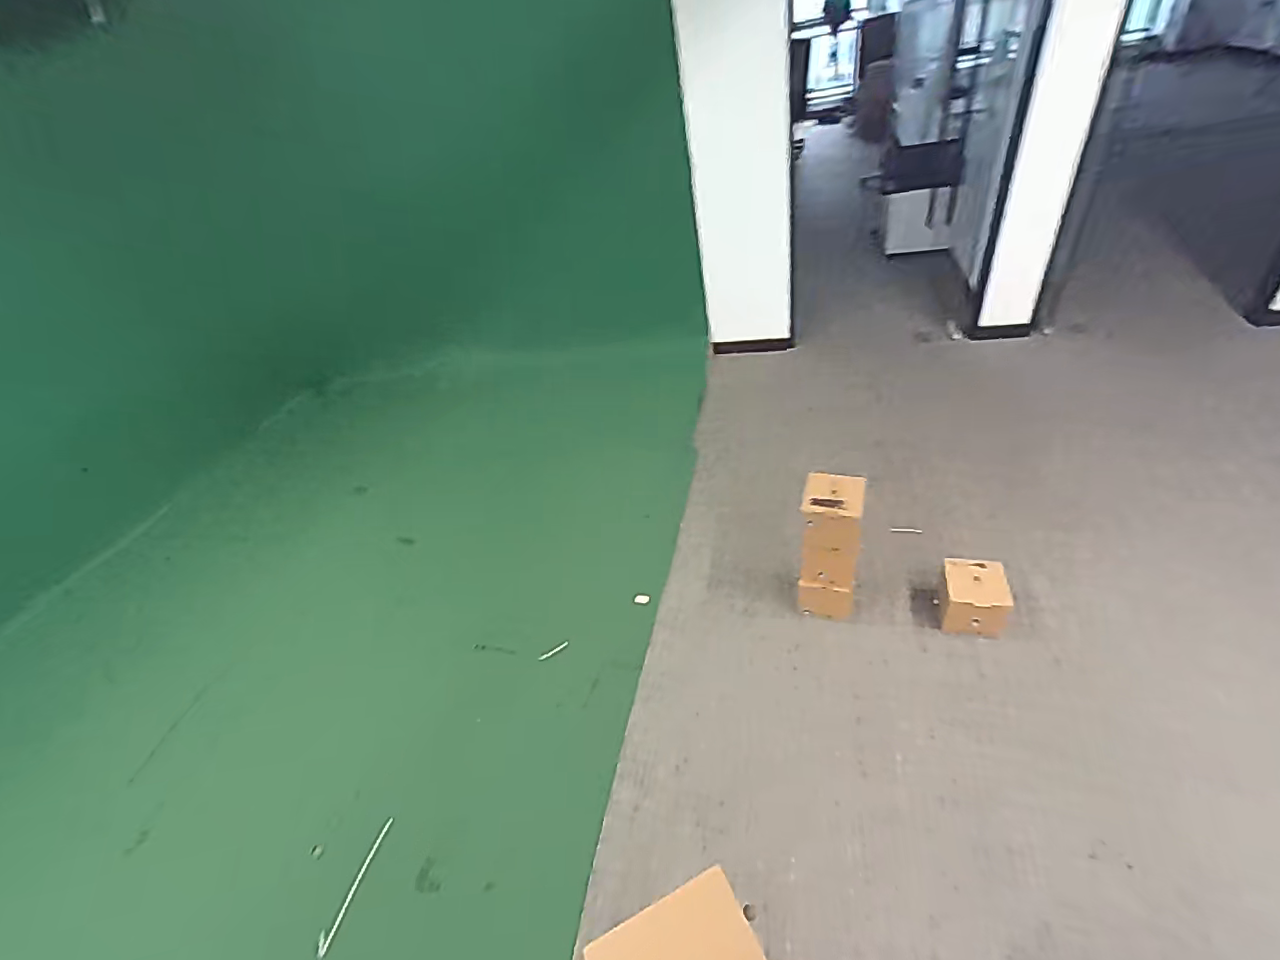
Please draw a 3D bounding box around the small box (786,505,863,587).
[{"bbox_3d":[0.601,0.220,1.770,0.168,0.176,0.179,-35,45,-22],"label":"small box"}]

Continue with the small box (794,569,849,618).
[{"bbox_3d":[0.625,0.348,1.855,0.168,0.176,0.179,6,43,21],"label":"small box"}]

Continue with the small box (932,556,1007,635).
[{"bbox_3d":[1.039,0.368,1.718,0.168,0.176,0.179,4,44,19],"label":"small box"}]
